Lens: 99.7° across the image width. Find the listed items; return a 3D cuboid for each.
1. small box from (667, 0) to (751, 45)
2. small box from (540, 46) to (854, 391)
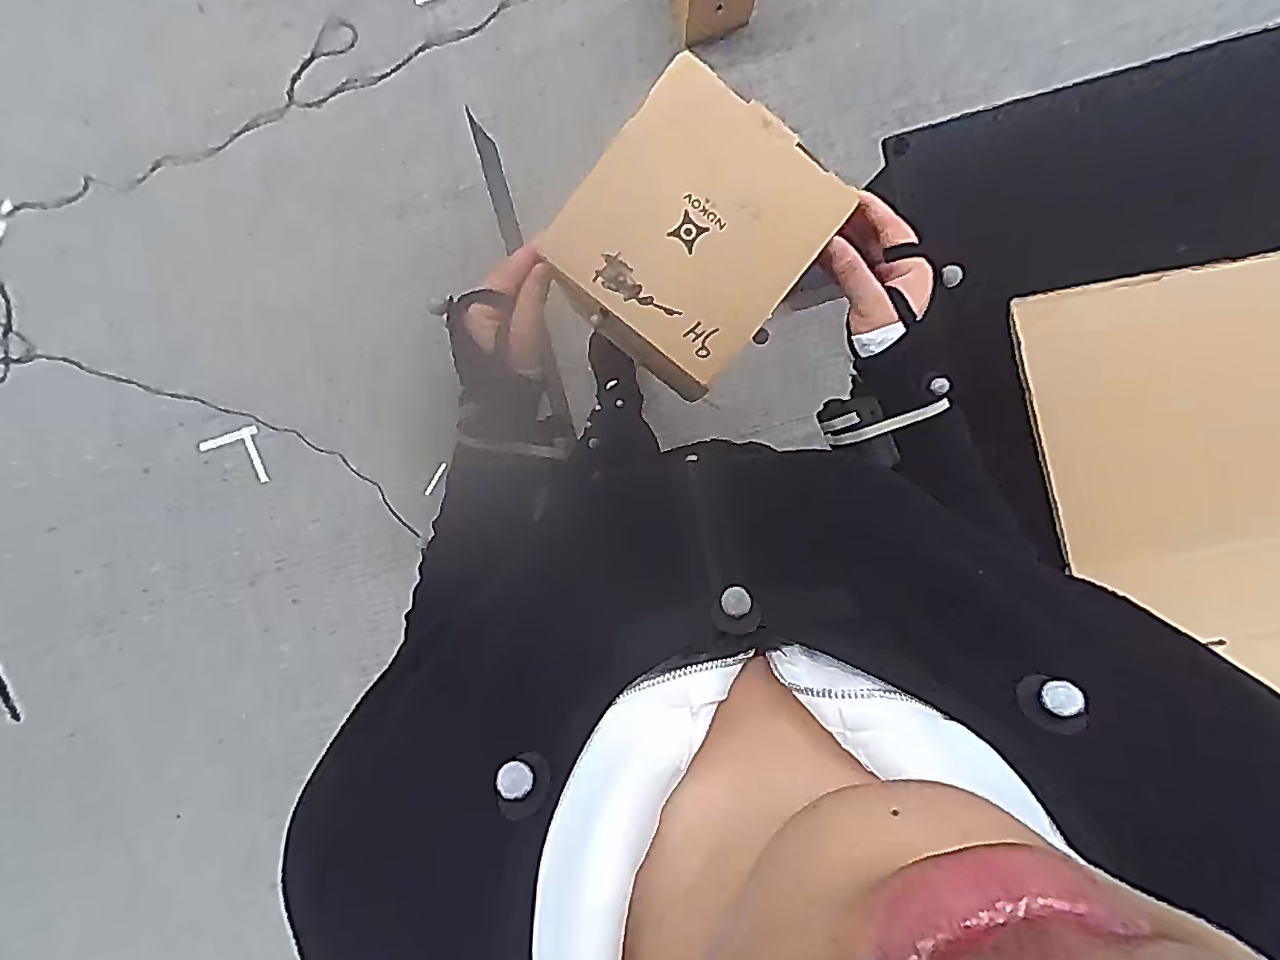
[{"bbox_3d":[0.159,-1.171,1.255,0.179,0.176,0.168,-19,97,4],"label":"small box"},{"bbox_3d":[0.041,-0.198,0.471,0.168,0.176,0.179,38,93,-1],"label":"small box"}]
